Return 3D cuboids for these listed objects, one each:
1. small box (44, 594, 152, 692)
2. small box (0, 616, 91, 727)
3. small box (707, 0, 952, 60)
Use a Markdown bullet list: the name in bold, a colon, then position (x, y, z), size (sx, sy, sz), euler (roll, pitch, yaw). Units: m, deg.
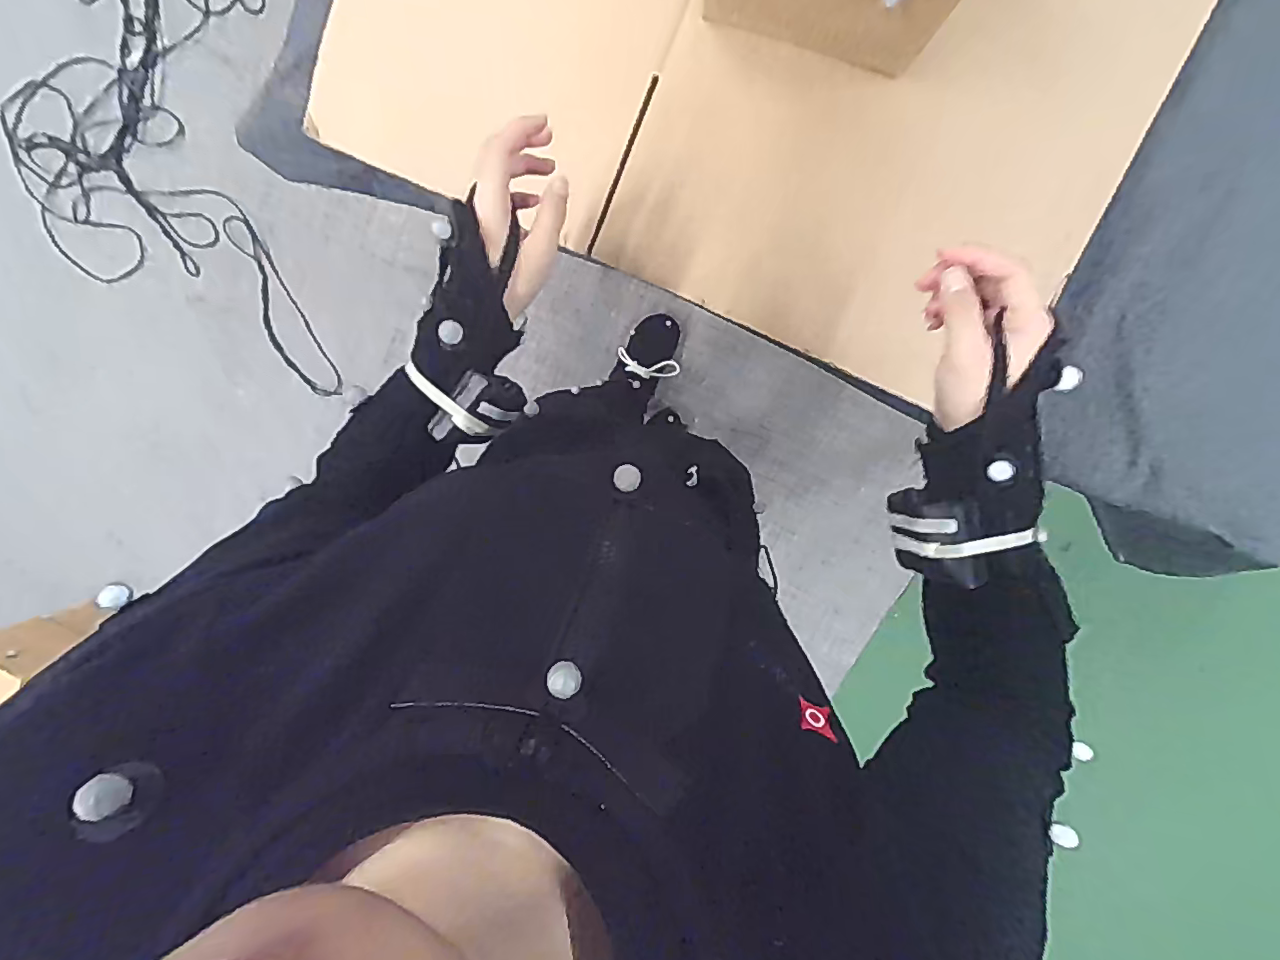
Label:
- **small box**: position (-1.537, 0.449, 1.515), size (0.179, 0.176, 0.168), euler (29, 103, -3)
- **small box**: position (-1.556, 0.467, 1.353), size (0.179, 0.176, 0.168), euler (29, 102, -3)
- **small box**: position (0.151, -0.416, 0.343), size (0.179, 0.176, 0.168), euler (16, 100, 0)
